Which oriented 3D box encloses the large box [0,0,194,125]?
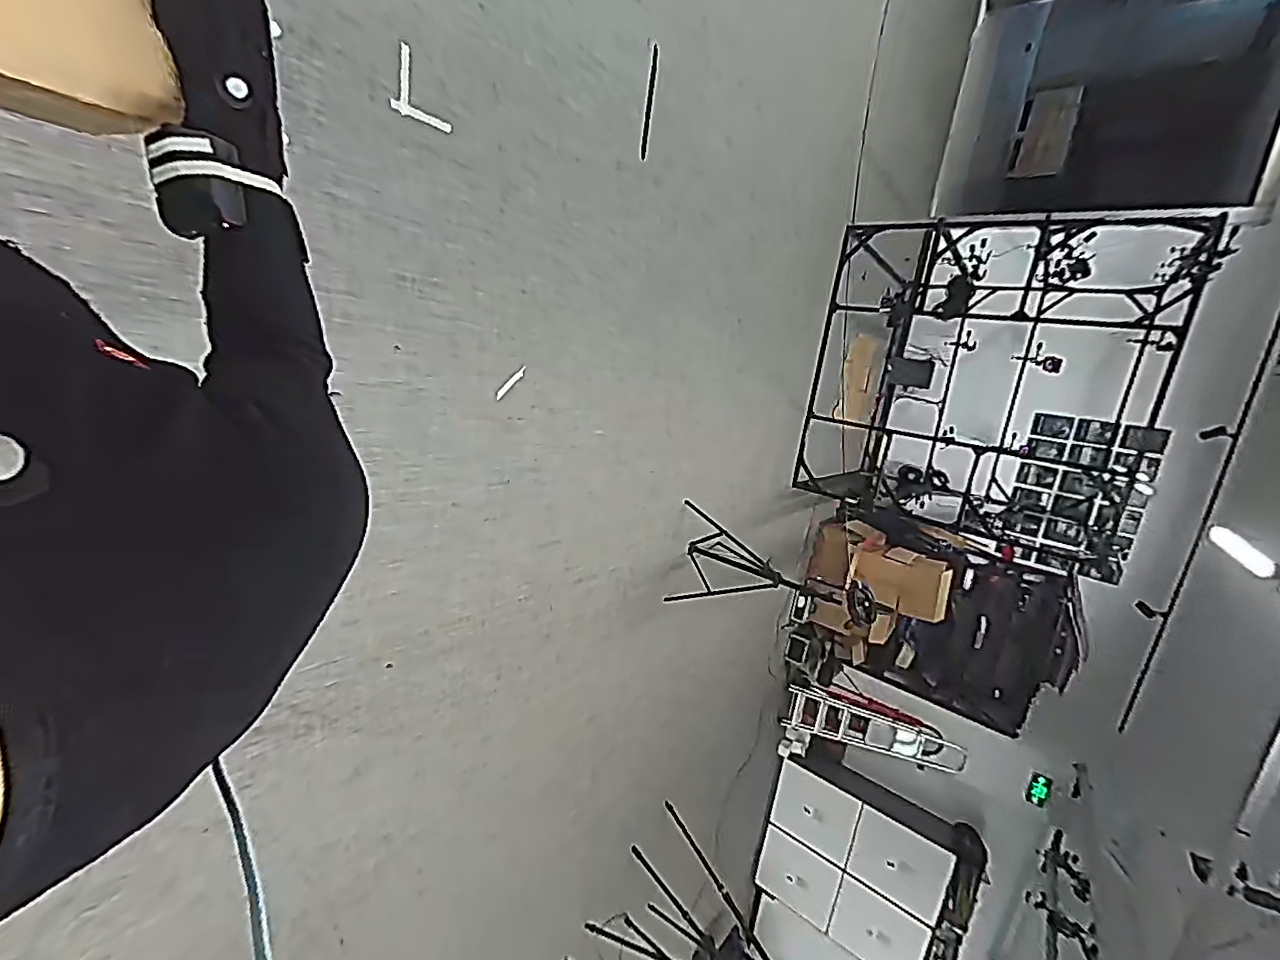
[{"bbox_3d":[-0.553,-0.448,0.301,0.408,0.320,0.320,-10,119,-53],"label":"large box"}]
